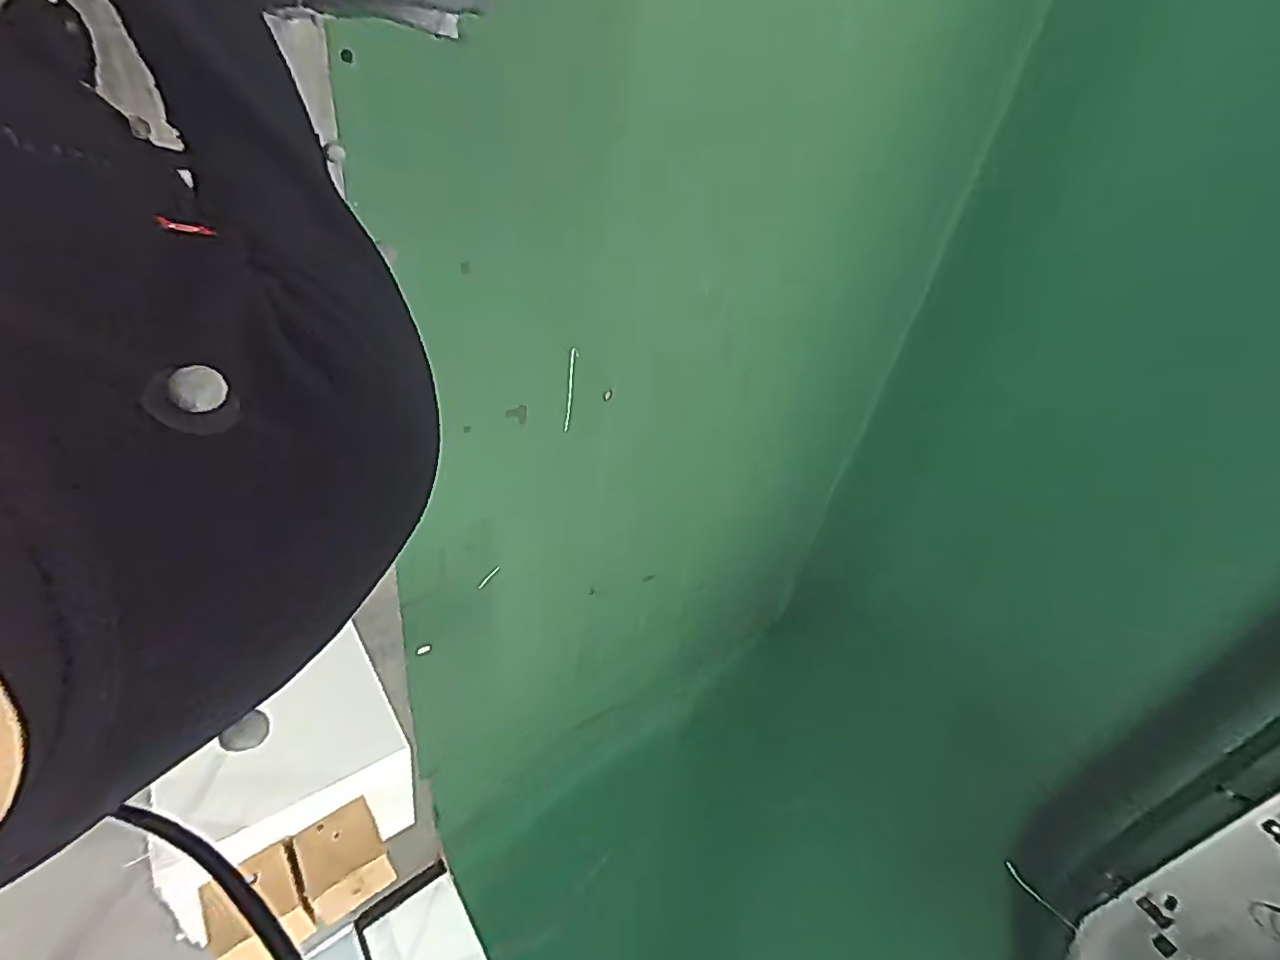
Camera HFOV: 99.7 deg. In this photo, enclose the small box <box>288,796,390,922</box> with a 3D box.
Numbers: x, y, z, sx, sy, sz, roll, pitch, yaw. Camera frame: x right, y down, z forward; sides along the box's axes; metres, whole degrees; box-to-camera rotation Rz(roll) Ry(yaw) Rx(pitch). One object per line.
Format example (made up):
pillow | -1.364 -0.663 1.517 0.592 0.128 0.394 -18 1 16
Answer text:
small box | -0.749 0.935 1.347 0.168 0.176 0.179 -22 136 -33
